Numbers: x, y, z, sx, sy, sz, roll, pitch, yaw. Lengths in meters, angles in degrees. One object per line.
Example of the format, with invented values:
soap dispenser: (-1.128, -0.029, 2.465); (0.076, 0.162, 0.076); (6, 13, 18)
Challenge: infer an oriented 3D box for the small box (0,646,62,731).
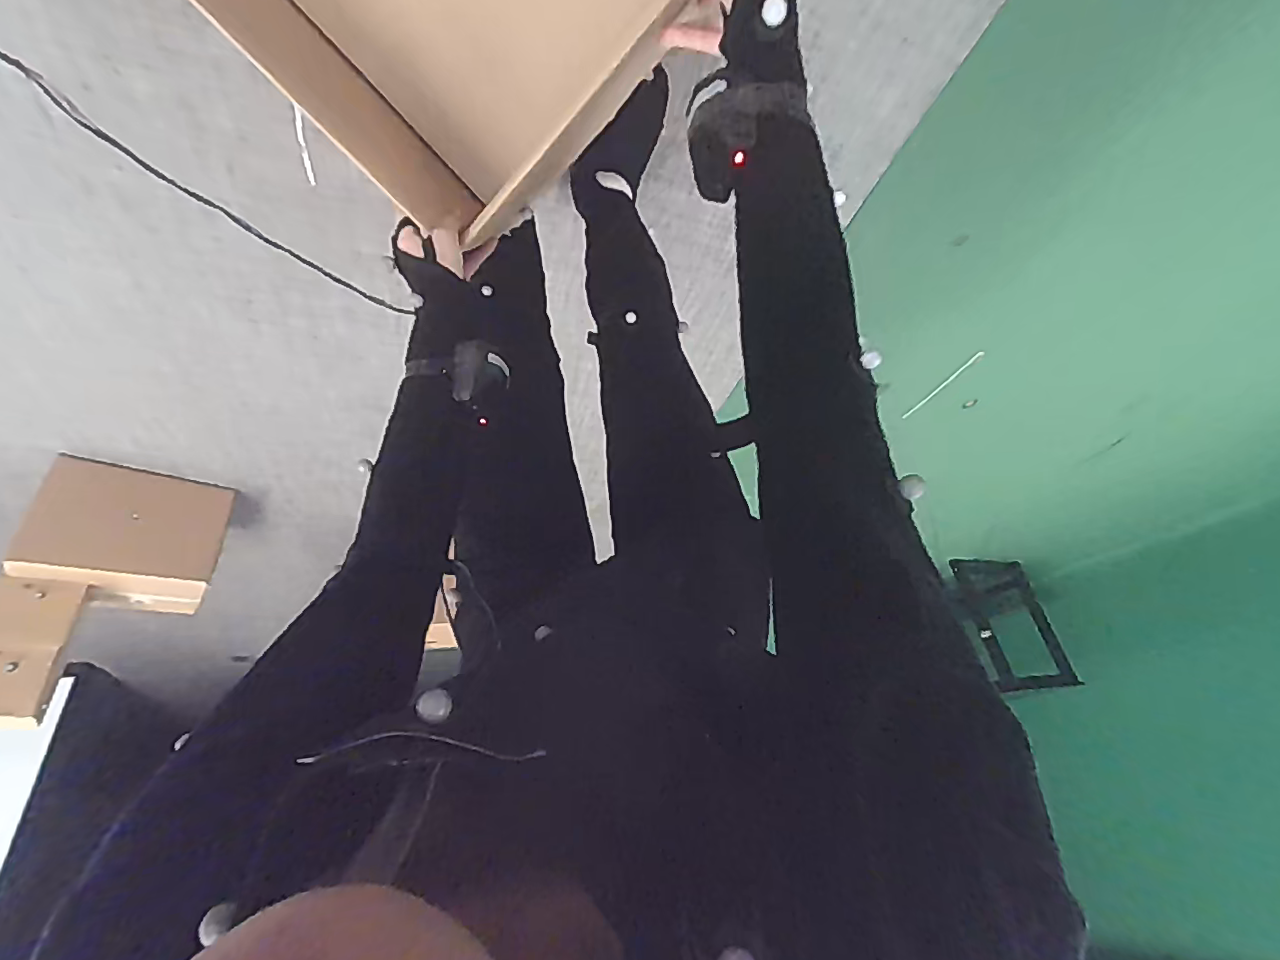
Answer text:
small box: (-1.553, 0.508, 1.312); (0.168, 0.176, 0.179); (16, 142, -35)
